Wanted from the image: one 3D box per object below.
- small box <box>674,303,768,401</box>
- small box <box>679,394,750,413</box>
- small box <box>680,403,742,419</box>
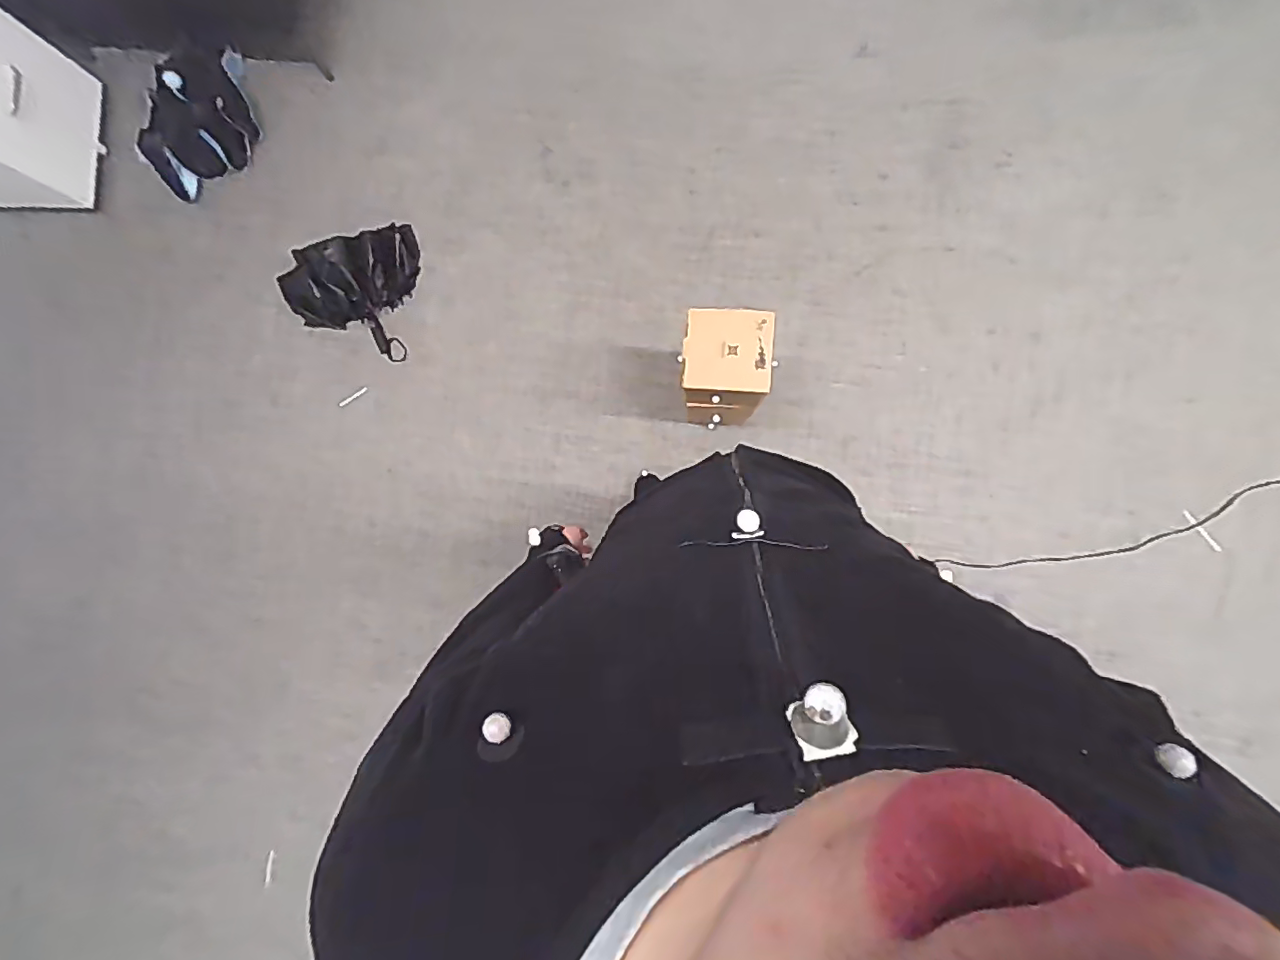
[{"bbox_3d":[0.171,-0.269,1.166,0.179,0.176,0.168,5,89,5],"label":"small box"},{"bbox_3d":[0.183,-0.266,1.329,0.168,0.176,0.179,3,89,5],"label":"small box"},{"bbox_3d":[0.197,-0.269,1.493,0.168,0.176,0.179,3,90,5],"label":"small box"}]
